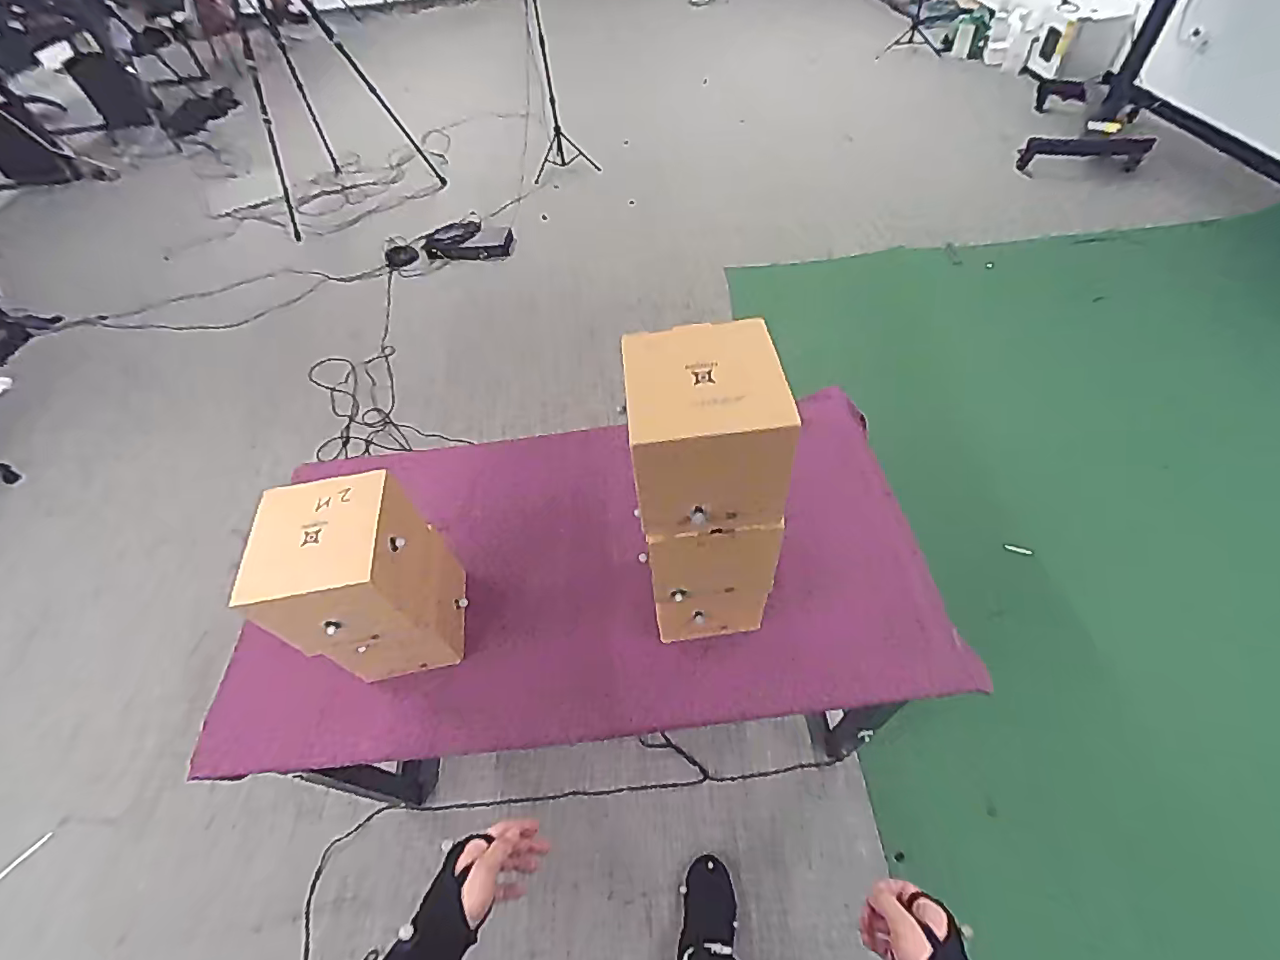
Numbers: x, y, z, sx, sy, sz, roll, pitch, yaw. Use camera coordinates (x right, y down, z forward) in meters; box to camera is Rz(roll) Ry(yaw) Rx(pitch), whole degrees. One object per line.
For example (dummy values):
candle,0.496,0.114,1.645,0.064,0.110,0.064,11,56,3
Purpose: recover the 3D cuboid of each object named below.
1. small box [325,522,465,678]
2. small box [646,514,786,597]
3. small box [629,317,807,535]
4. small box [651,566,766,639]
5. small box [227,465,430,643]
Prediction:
small box,-0.392,0.195,0.875,0.168,0.176,0.179,-11,52,-3
small box,0.092,0.047,0.738,0.168,0.176,0.179,-6,50,1
small box,0.076,-0.059,0.615,0.168,0.176,0.179,-5,51,2
small box,0.103,0.143,0.872,0.168,0.176,0.179,-8,51,0
small box,-0.400,0.108,0.734,0.168,0.176,0.179,-9,53,-3
